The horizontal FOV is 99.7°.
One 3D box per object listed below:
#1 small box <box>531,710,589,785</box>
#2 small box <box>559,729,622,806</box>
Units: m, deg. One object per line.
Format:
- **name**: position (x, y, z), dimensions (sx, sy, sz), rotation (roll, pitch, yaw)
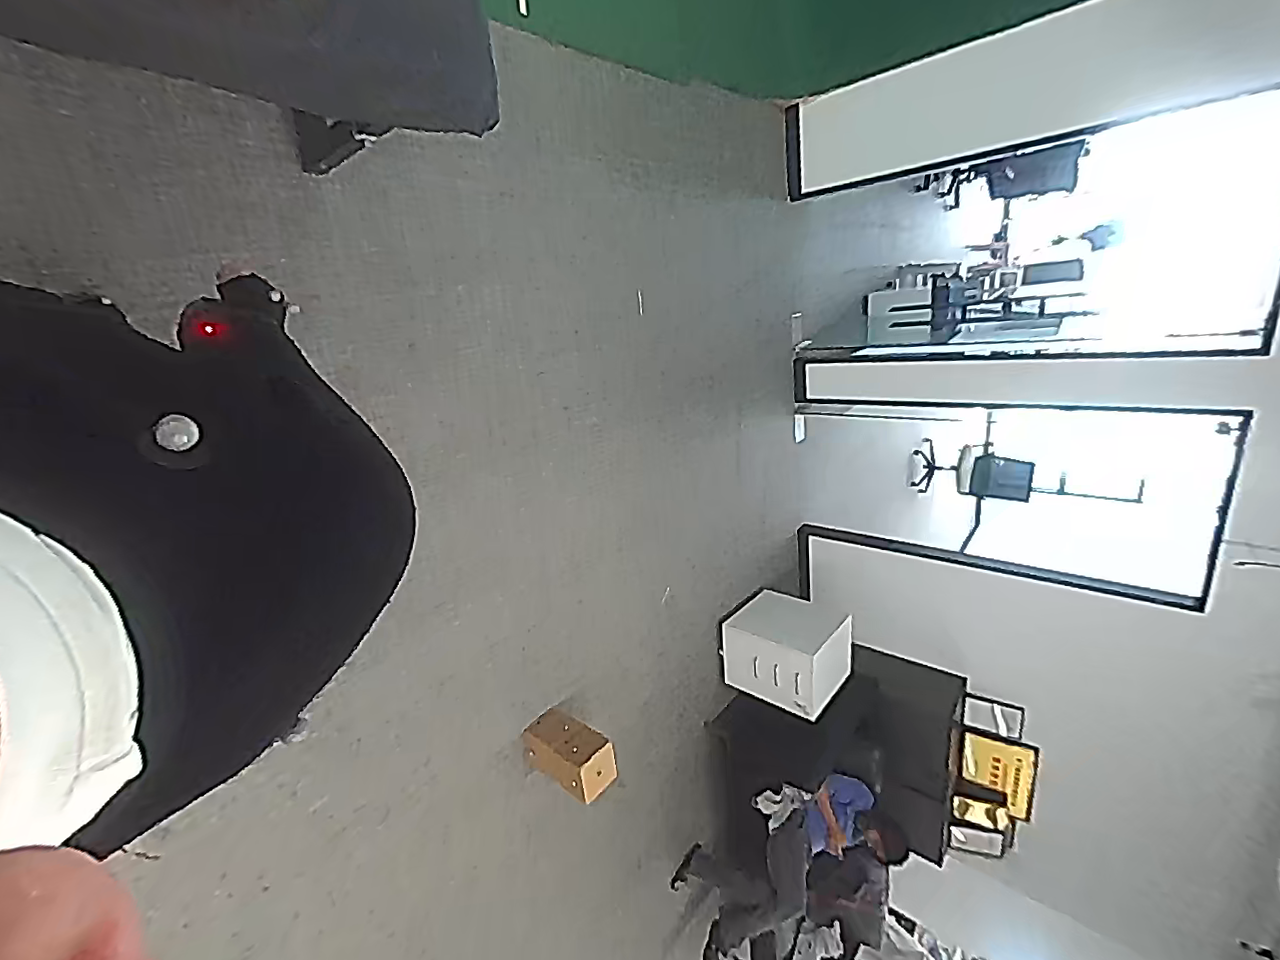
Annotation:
- **small box**: position (-0.313, 1.056, 2.151), dimensions (0.168, 0.176, 0.179), rotation (-24, 114, -45)
- **small box**: position (-0.190, 1.075, 2.048), dimensions (0.168, 0.176, 0.179), rotation (-26, 117, -44)
